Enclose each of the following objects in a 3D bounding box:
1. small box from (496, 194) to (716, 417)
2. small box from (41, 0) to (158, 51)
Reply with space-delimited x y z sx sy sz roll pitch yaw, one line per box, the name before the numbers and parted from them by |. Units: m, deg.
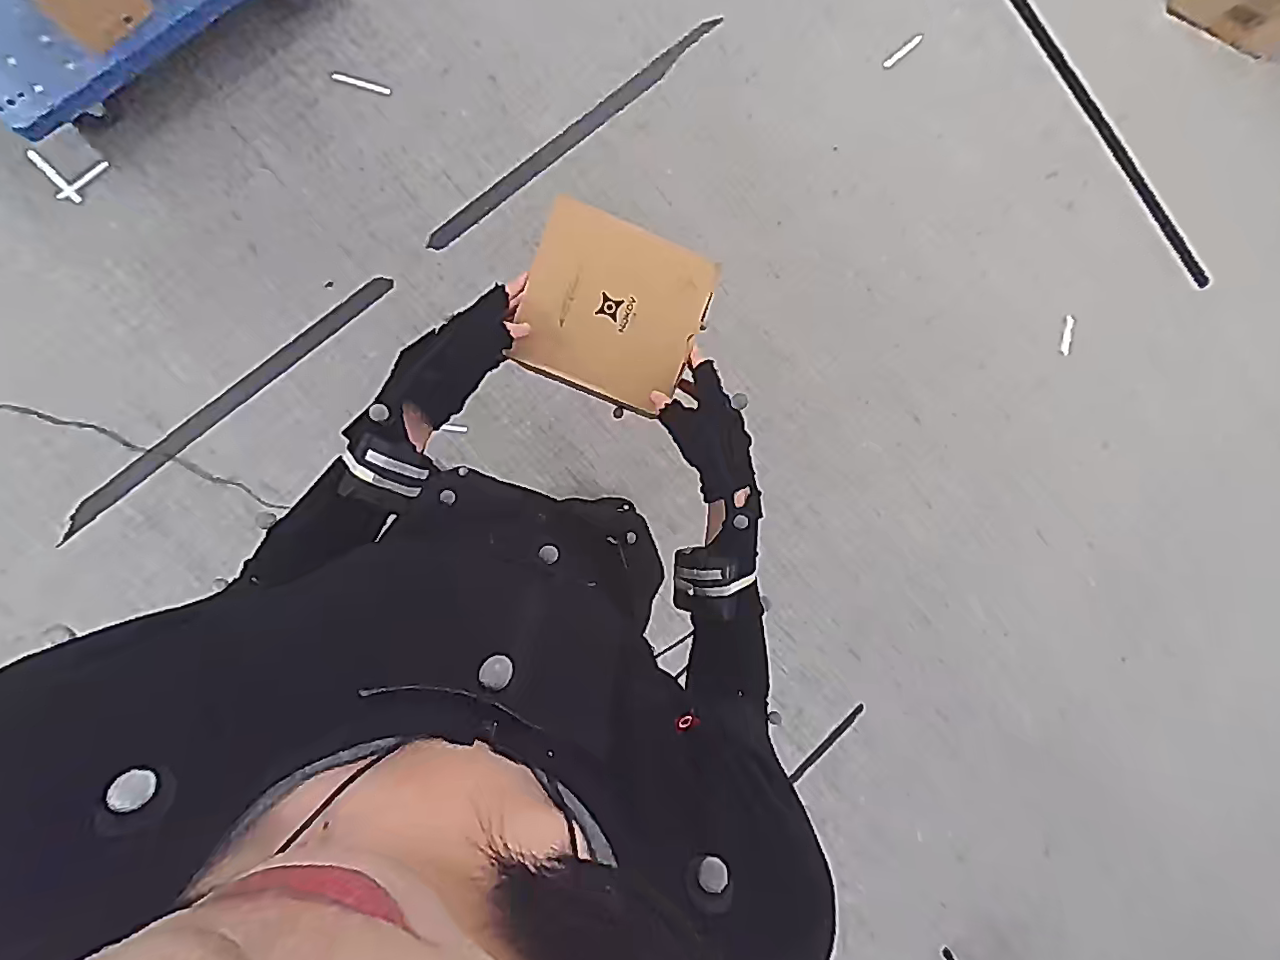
small box | -0.038 -0.178 0.609 0.179 0.176 0.168 20 93 -5
small box | -1.132 -1.015 1.064 0.168 0.176 0.179 -45 96 -5
